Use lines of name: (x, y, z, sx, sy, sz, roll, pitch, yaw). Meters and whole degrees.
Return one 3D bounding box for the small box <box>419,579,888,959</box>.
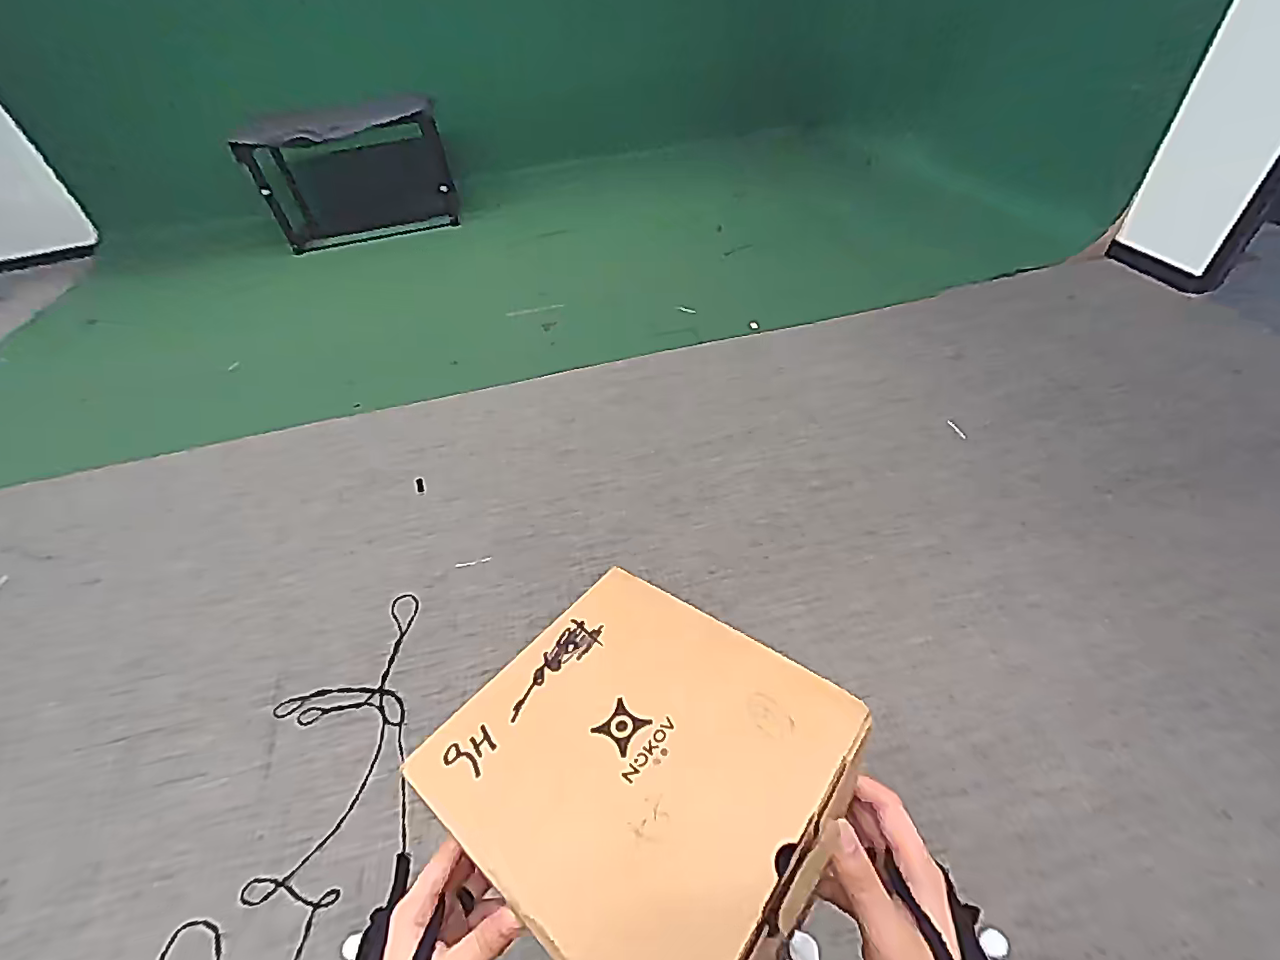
small box: (0.012, 0.198, 0.315, 0.179, 0.176, 0.168, 25, 47, 36)
